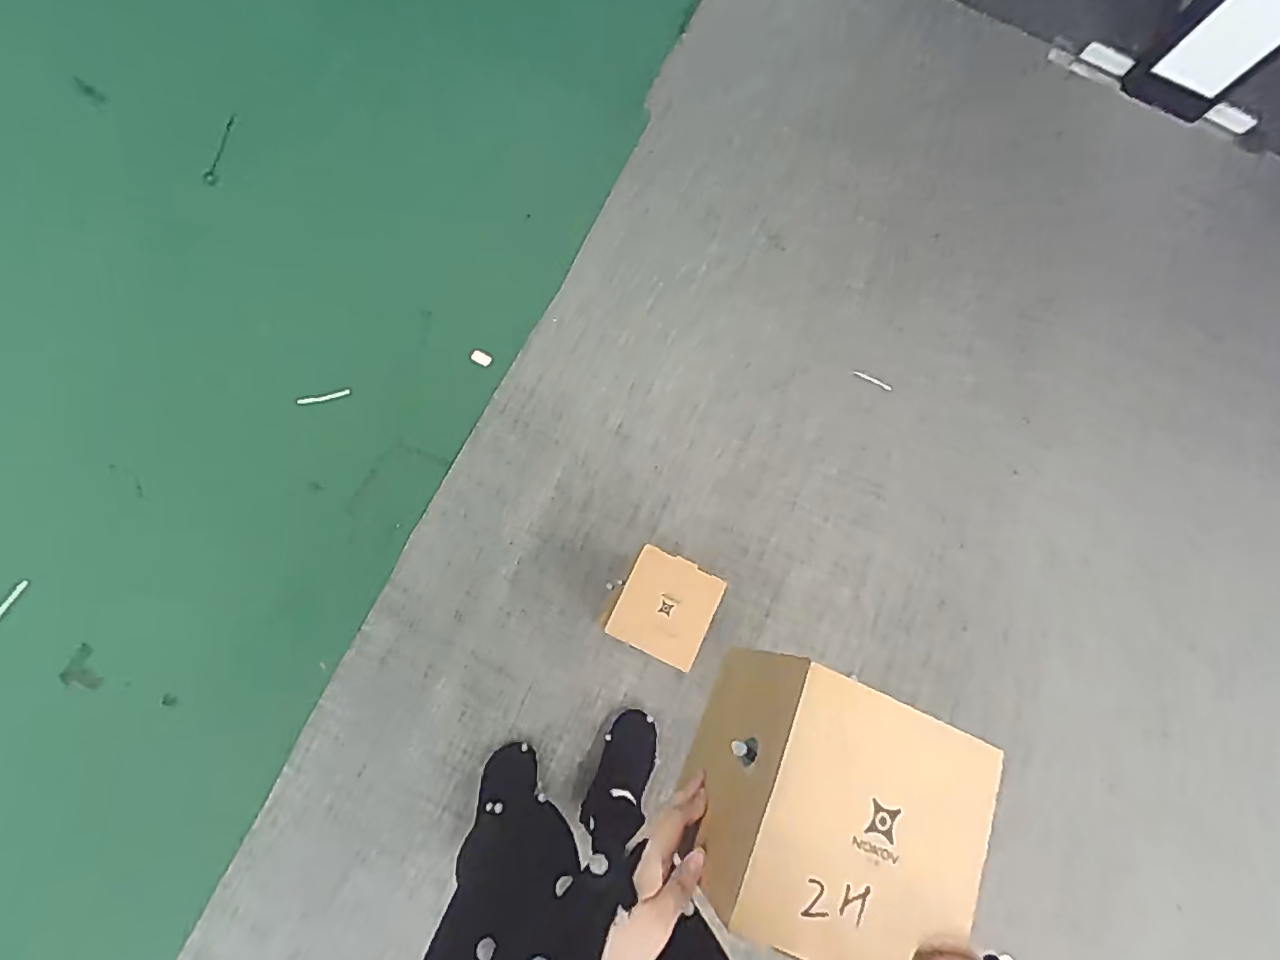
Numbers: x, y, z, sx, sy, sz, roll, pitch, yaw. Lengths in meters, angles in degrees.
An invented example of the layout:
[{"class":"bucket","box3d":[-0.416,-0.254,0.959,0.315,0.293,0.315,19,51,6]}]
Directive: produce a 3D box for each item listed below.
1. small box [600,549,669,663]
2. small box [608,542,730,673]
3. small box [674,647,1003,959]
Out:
[{"class":"small box","box3d":[0.024,0.272,1.179,0.168,0.176,0.179,29,76,1]},{"class":"small box","box3d":[0.045,0.238,1.021,0.168,0.176,0.179,25,76,1]},{"class":"small box","box3d":[0.143,0.247,0.436,0.168,0.176,0.179,26,72,-4]}]
